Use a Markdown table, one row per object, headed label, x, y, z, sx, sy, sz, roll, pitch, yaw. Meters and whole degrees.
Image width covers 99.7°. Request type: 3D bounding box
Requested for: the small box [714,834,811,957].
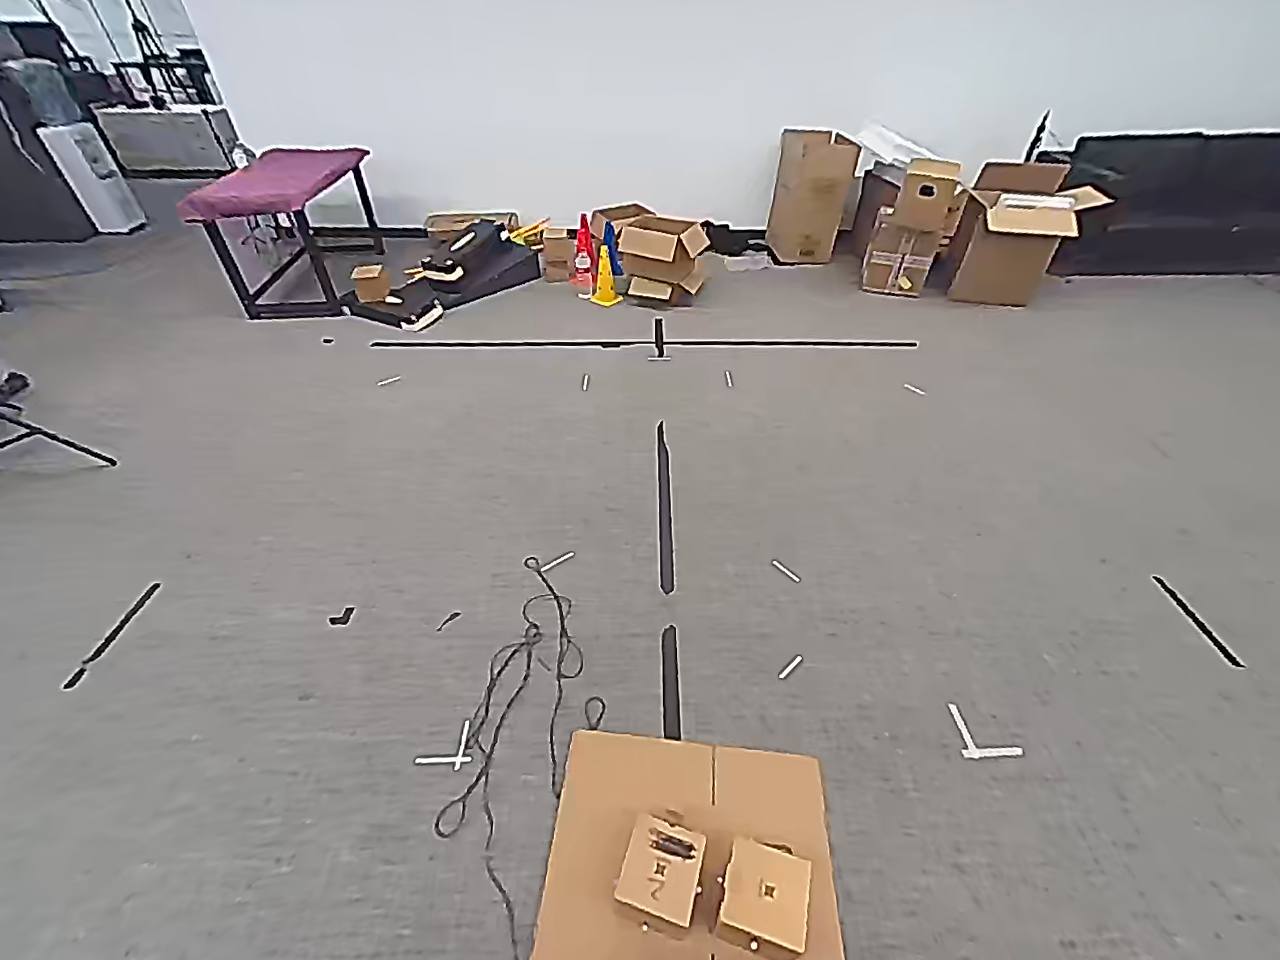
| label | x | y | z | sx | sy | sz | roll | pitch | yaw |
| --- | --- | --- | --- | --- | --- | --- | --- | --- | --- |
| small box | 0.275 | 0.945 | 1.226 | 0.179 | 0.176 | 0.168 | 12 | 43 | 14 |
